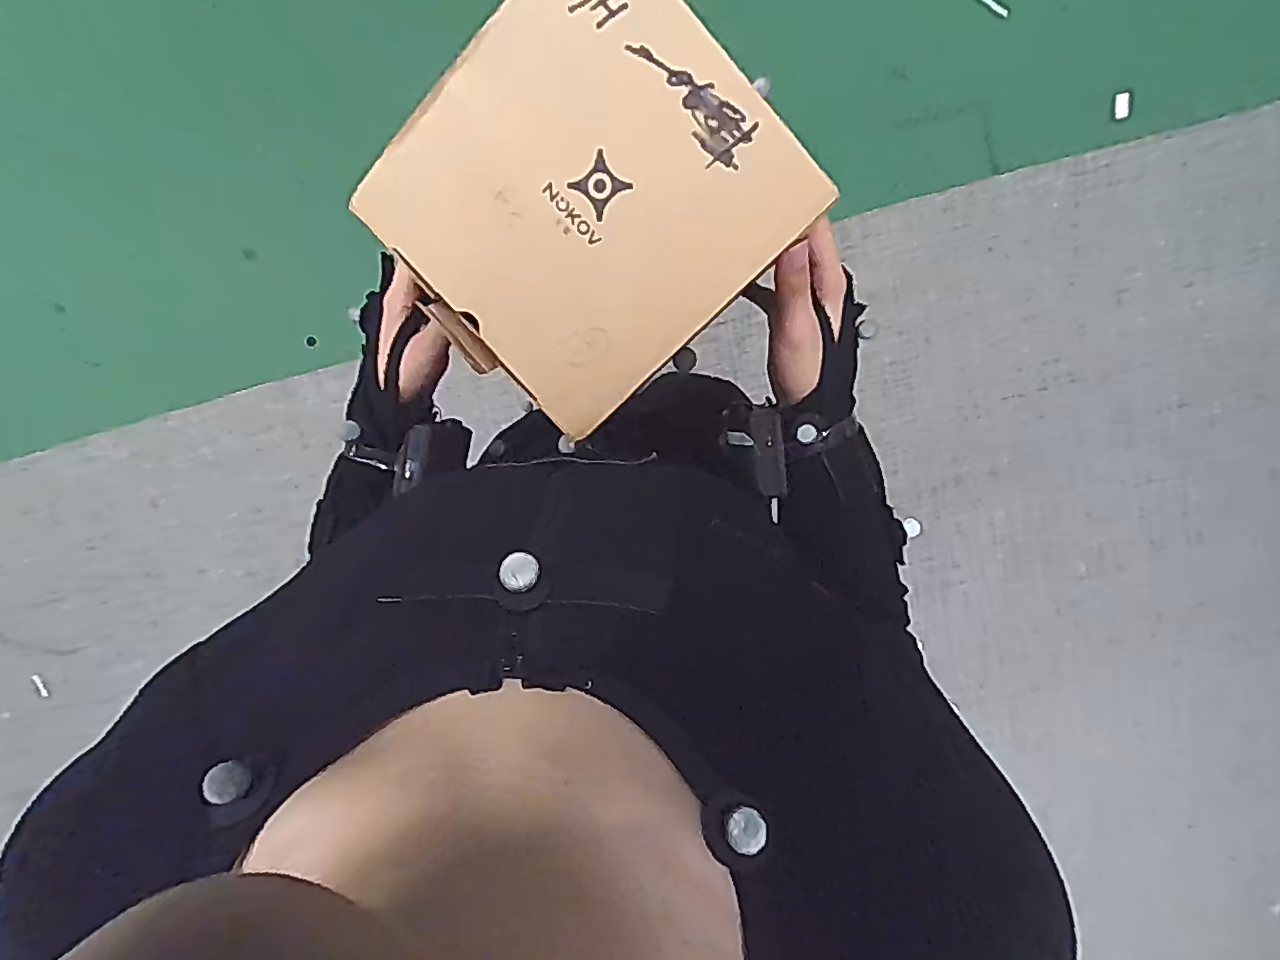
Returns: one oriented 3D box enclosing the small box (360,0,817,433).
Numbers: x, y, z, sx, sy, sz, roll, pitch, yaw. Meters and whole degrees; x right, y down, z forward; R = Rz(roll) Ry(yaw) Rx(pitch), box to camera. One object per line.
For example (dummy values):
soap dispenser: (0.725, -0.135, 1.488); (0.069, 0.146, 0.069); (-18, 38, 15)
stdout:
small box: (-0.022, -0.155, 0.344); (0.179, 0.176, 0.168); (-42, 97, 12)
